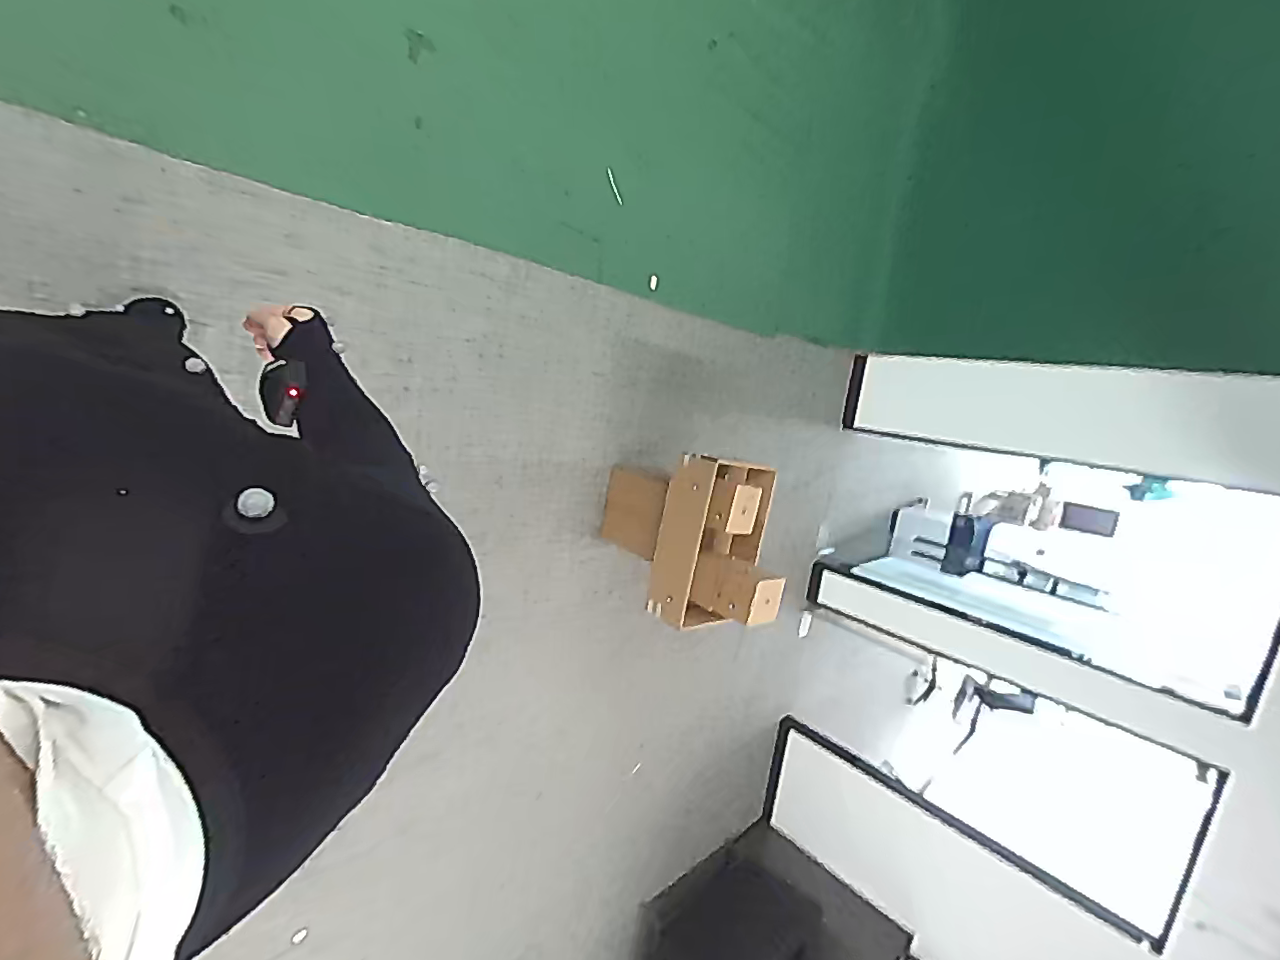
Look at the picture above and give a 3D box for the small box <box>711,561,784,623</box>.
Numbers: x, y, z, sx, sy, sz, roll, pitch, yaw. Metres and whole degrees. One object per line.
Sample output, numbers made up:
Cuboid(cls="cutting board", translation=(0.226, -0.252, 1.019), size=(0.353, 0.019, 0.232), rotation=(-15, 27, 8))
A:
Cuboid(cls="small box", translation=(0.377, 0.390, 1.912), size=(0.179, 0.176, 0.168), rotation=(5, 100, -45))
